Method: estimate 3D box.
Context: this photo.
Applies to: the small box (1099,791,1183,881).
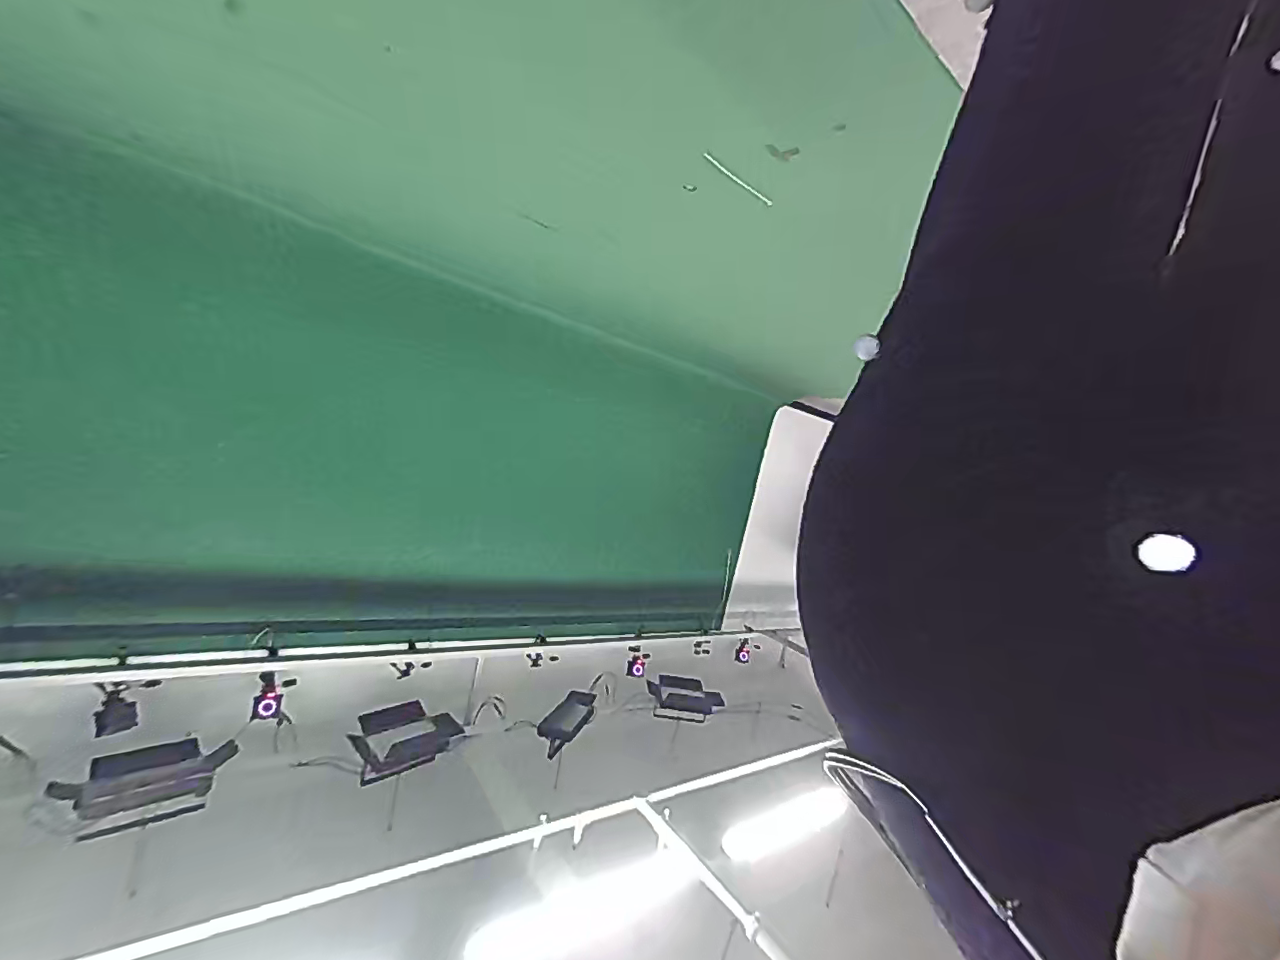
[{"bbox_3d":[1.620,1.133,1.747,0.179,0.176,0.168,8,-174,-42],"label":"small box"}]
